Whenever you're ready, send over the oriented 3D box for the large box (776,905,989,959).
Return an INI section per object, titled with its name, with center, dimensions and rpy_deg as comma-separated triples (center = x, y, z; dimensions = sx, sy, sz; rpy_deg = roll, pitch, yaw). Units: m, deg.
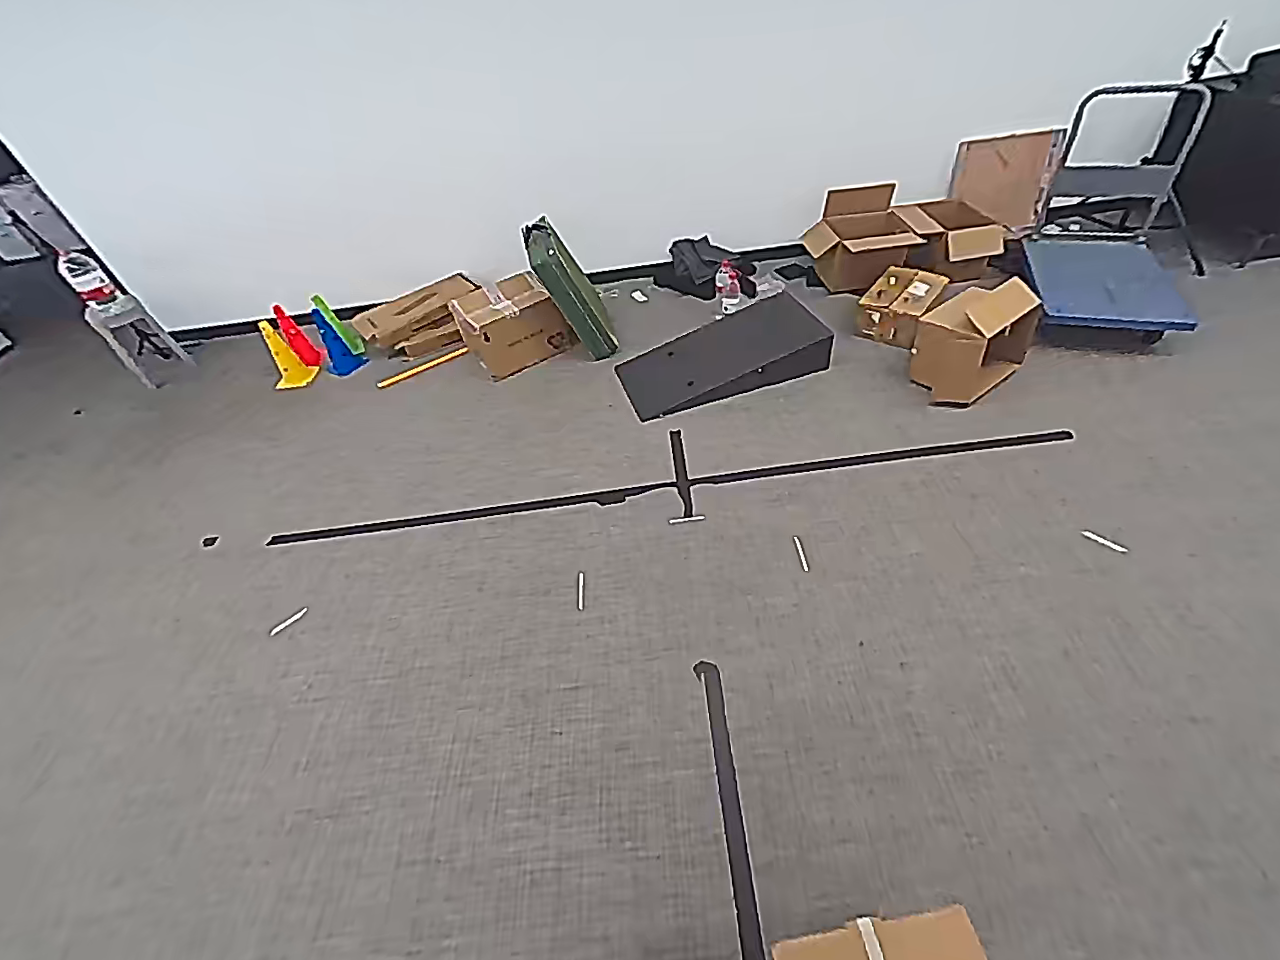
[large box]
center = 0.425, 0.947, 0.834
dimensions = 0.320, 0.320, 0.408
rpy_deg = -15, 46, 4
